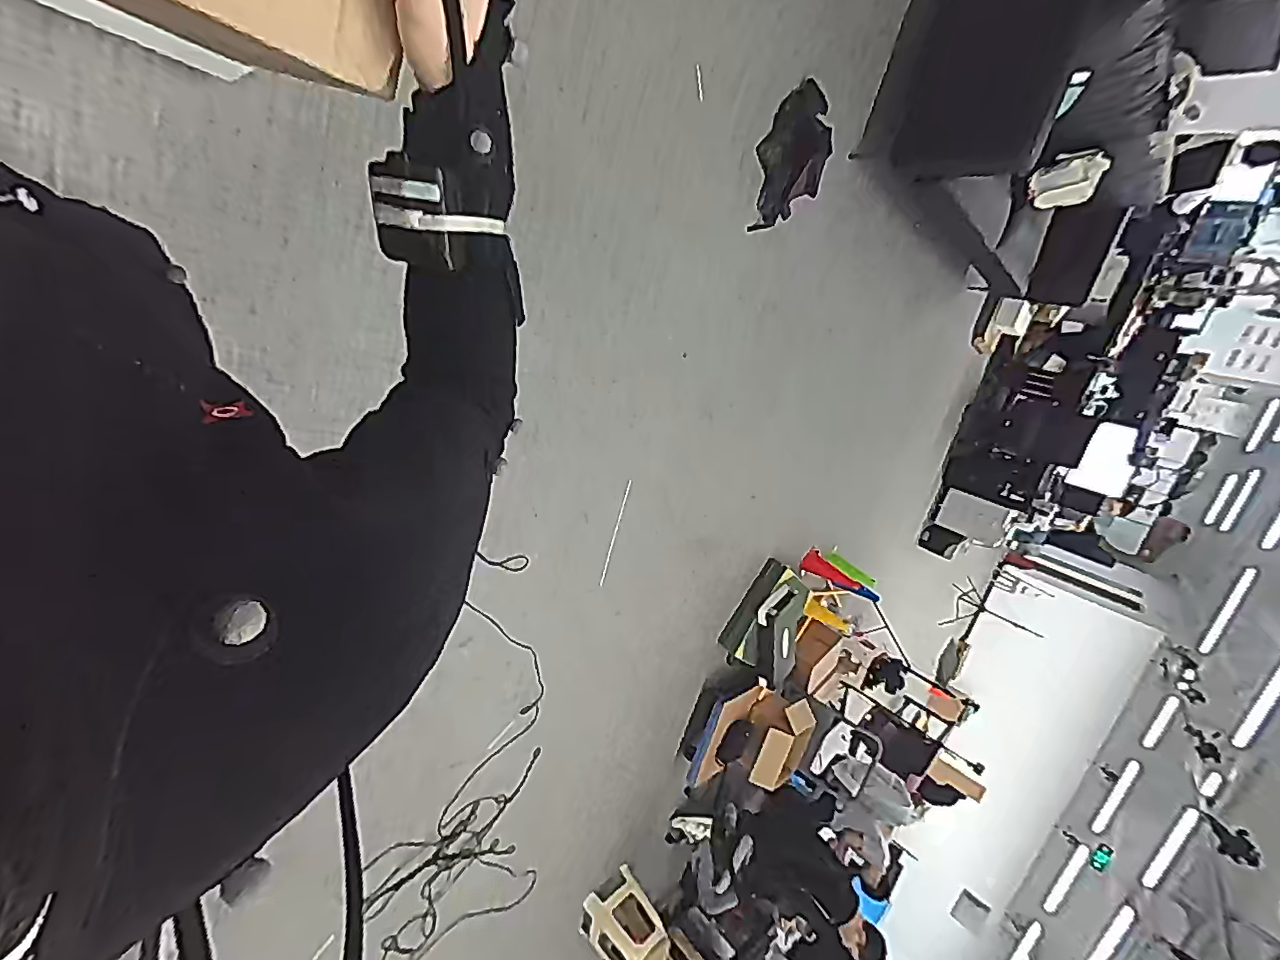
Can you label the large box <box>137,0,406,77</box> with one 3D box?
[{"bbox_3d":[-0.337,-0.442,0.216,0.408,0.320,0.320,-6,126,-51],"label":"large box"}]
